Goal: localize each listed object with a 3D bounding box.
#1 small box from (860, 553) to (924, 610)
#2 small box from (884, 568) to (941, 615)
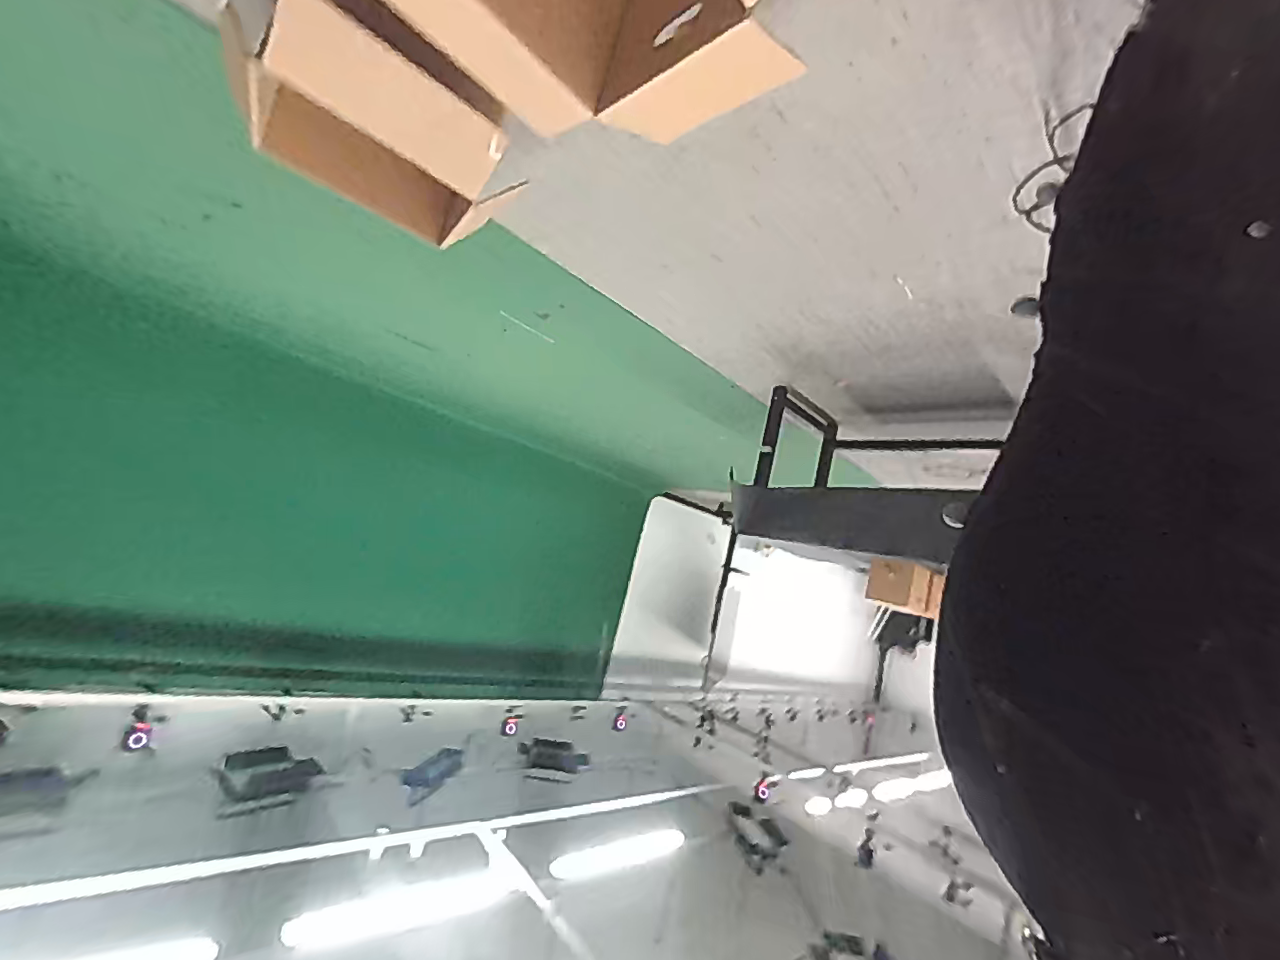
[{"bbox_3d":[0.978,0.390,2.090,0.168,0.176,0.179,5,167,45],"label":"small box"},{"bbox_3d":[1.121,0.445,2.226,0.168,0.176,0.179,4,166,45],"label":"small box"}]
